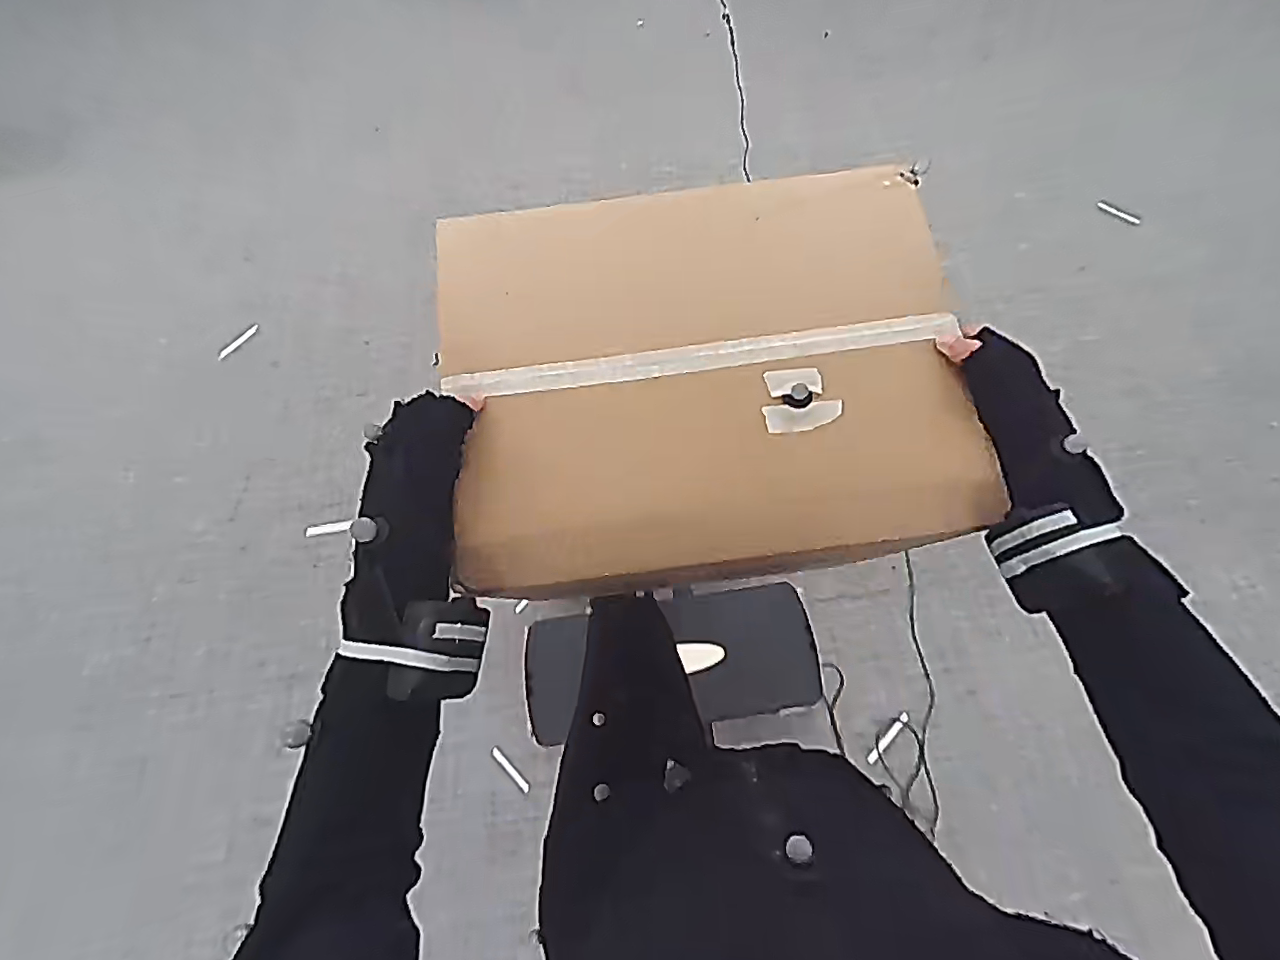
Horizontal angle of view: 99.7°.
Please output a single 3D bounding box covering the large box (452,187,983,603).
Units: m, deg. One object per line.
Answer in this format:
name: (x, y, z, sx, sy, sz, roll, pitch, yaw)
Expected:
large box: (0.049, -0.054, 0.591, 0.408, 0.320, 0.320, -7, 76, -1)
